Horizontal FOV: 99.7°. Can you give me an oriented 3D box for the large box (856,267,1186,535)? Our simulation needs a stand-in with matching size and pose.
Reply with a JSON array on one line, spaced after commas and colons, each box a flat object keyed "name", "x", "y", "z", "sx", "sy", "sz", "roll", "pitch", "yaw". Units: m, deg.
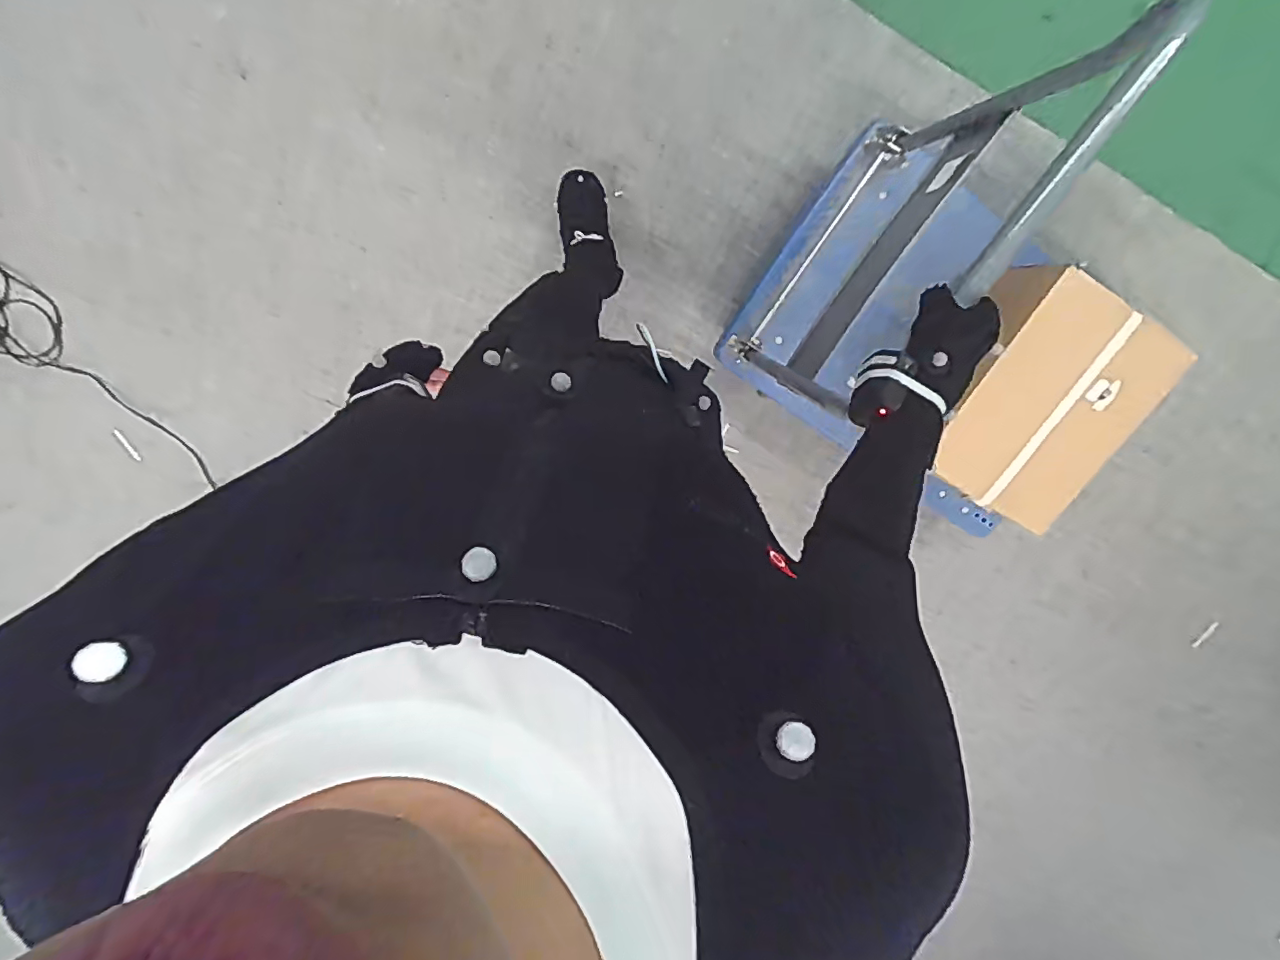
[{"name": "large box", "x": 0.738, "y": -0.168, "z": 1.122, "sx": 0.320, "sy": 0.320, "sz": 0.408, "roll": 28, "pitch": 105, "yaw": -11}]
